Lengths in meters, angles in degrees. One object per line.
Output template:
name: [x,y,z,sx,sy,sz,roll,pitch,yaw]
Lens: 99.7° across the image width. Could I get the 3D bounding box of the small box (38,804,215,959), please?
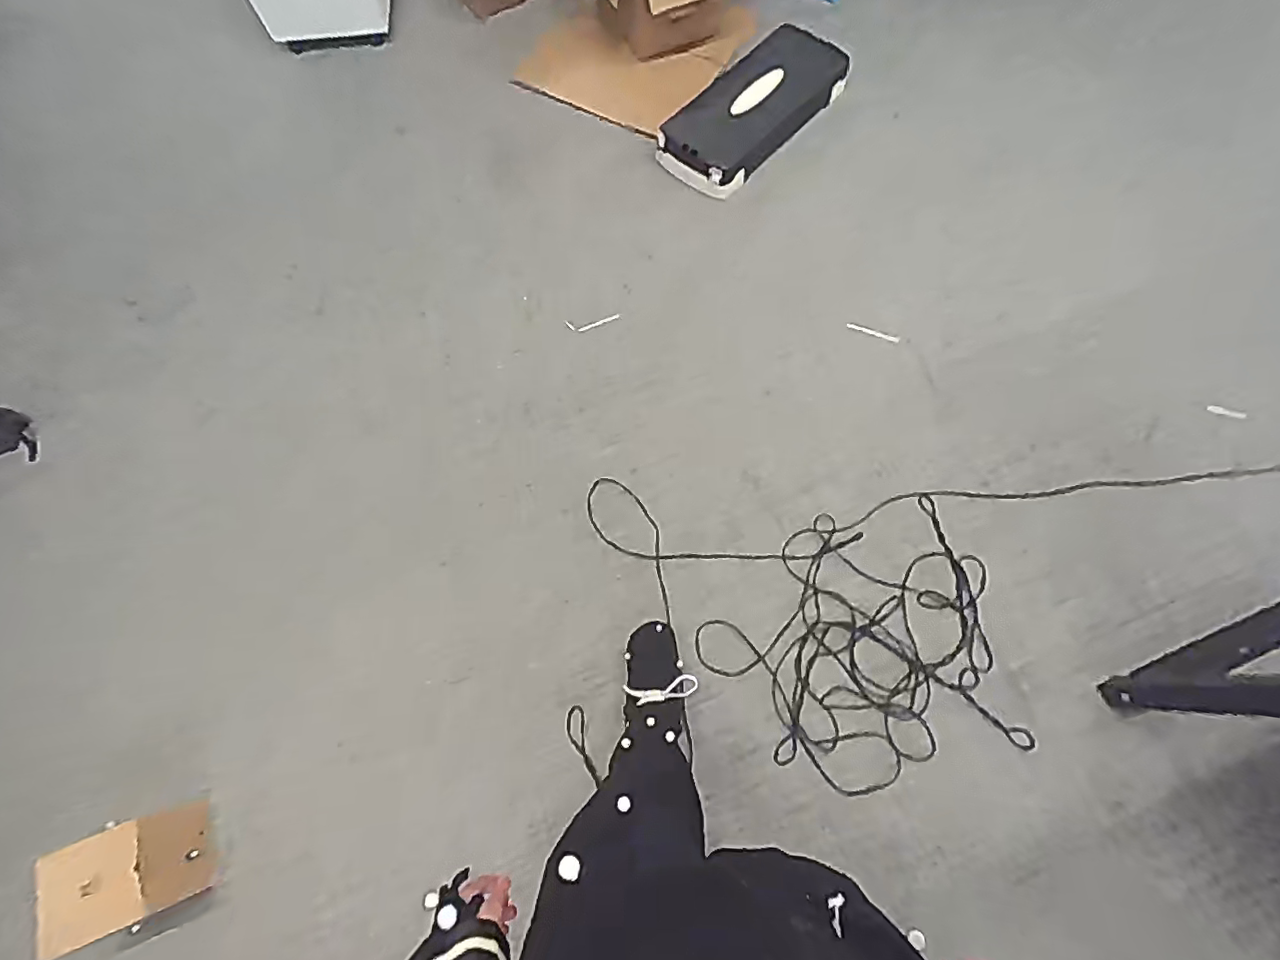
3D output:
small box: [-0.953,0.741,1.014,0.179,0.176,0.168,-21,70,-7]
